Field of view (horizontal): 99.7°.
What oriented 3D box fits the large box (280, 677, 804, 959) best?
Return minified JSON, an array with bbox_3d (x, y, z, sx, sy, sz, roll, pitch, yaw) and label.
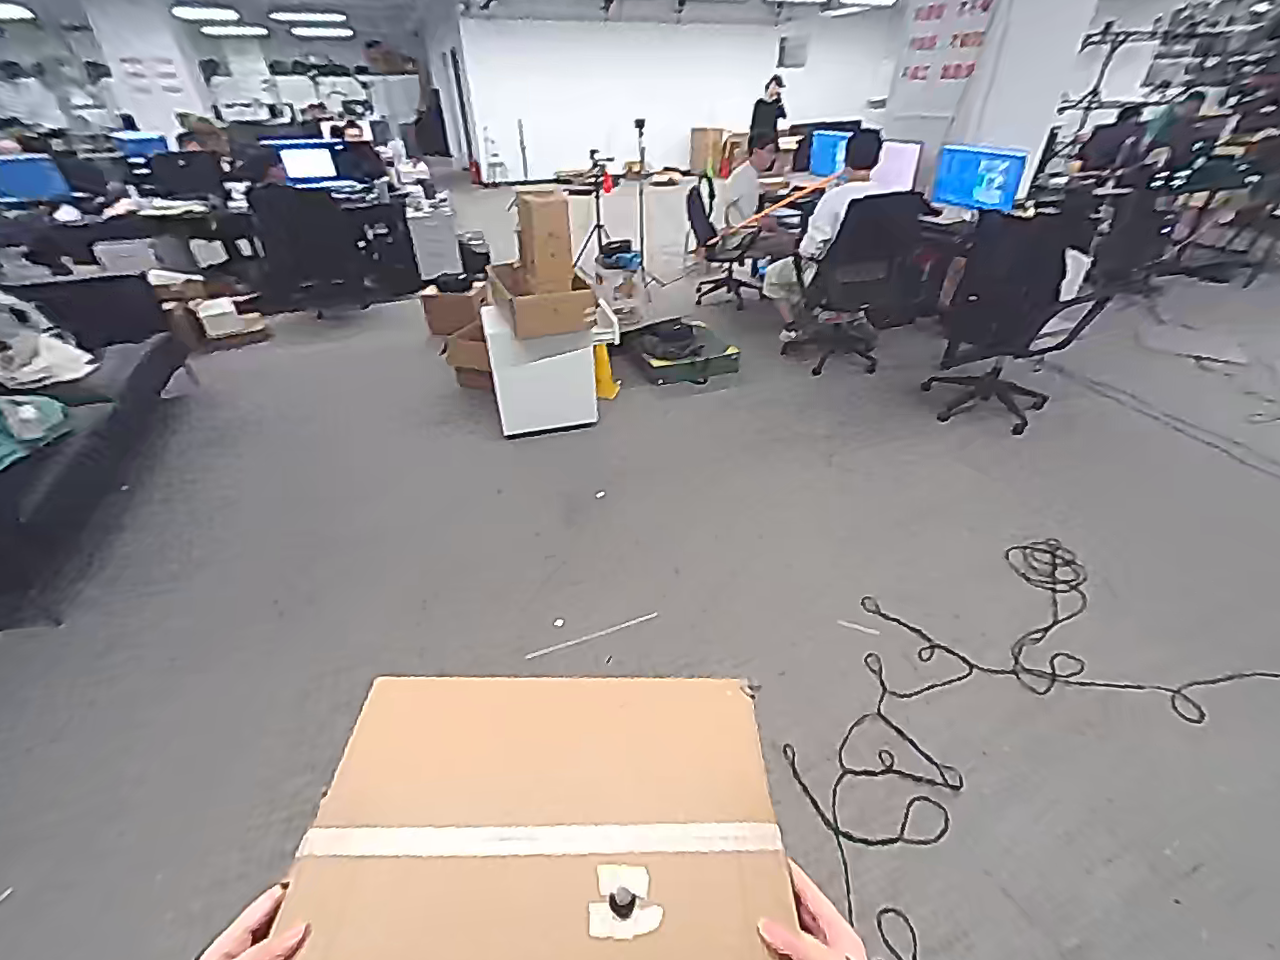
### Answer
[{"bbox_3d":[-0.080,0.432,0.566,0.408,0.320,0.320,2,37,-2],"label":"large box"}]
